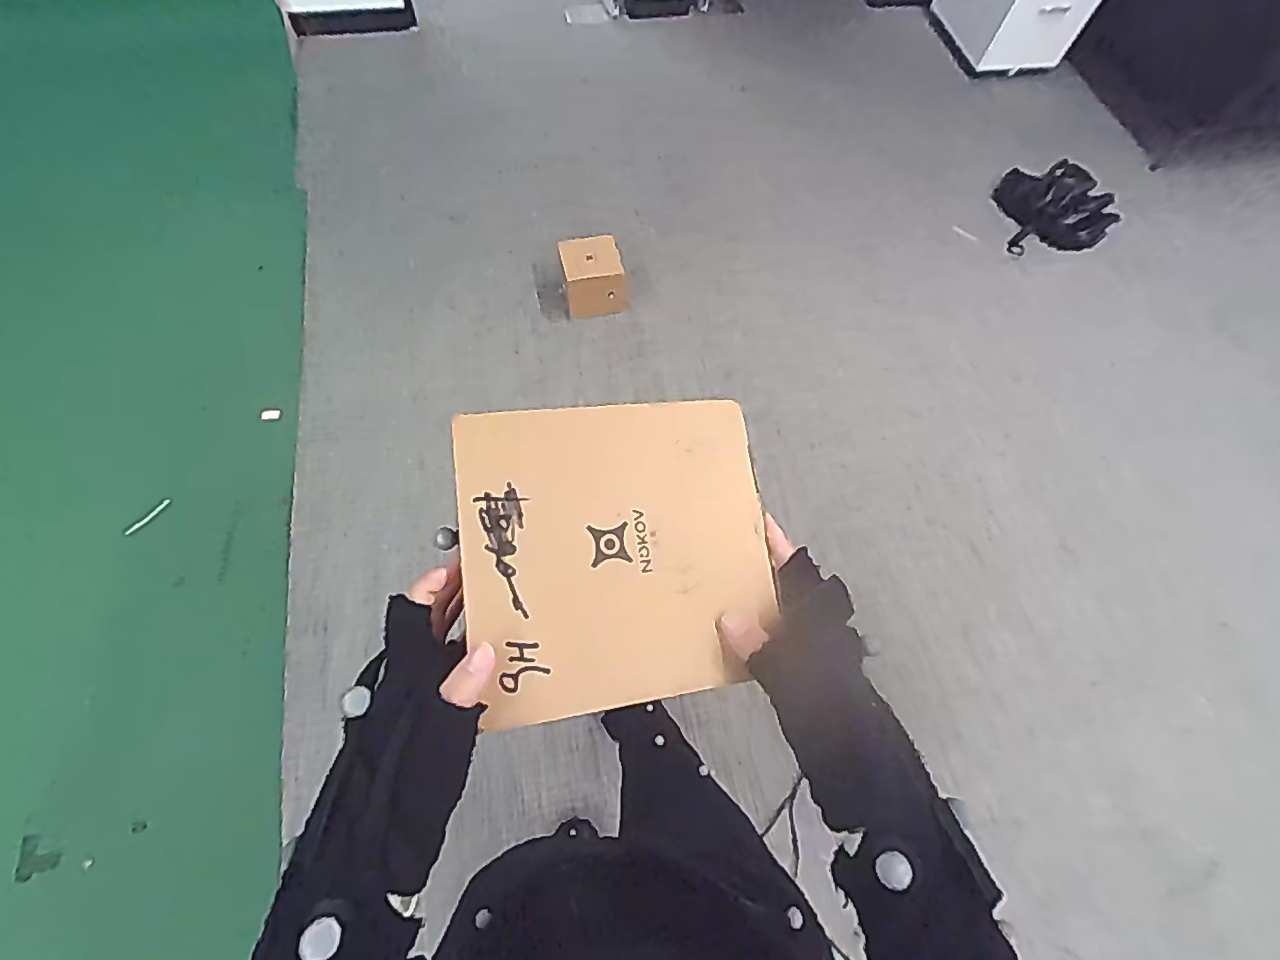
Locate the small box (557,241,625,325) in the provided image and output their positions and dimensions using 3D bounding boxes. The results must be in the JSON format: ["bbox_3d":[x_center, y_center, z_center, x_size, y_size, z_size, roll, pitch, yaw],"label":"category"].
[{"bbox_3d":[-0.153,-0.614,1.692,0.179,0.176,0.168,-13,66,-8],"label":"small box"}]

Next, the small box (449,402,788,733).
[{"bbox_3d":[-0.029,0.058,0.382,0.179,0.176,0.168,-8,76,-15],"label":"small box"}]
